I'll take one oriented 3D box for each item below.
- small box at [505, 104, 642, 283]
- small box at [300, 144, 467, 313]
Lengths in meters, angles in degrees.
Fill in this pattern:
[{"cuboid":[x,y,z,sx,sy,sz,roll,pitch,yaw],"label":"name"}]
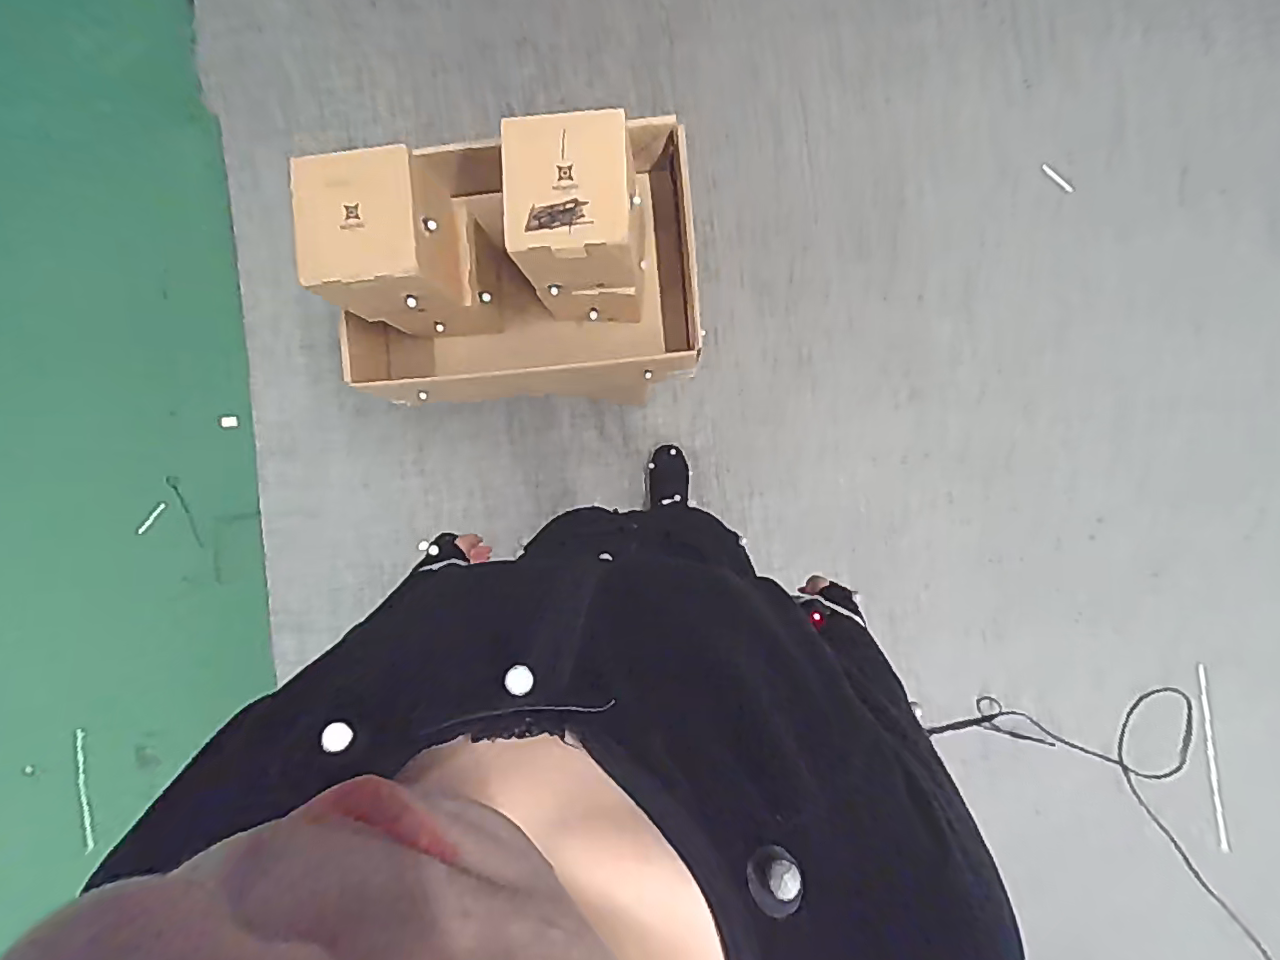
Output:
[{"cuboid":[-0.087,-0.398,0.786,0.168,0.176,0.179,-2,89,5],"label":"small box"},{"cuboid":[-0.372,-0.361,0.812,0.168,0.176,0.179,-4,89,5],"label":"small box"}]
